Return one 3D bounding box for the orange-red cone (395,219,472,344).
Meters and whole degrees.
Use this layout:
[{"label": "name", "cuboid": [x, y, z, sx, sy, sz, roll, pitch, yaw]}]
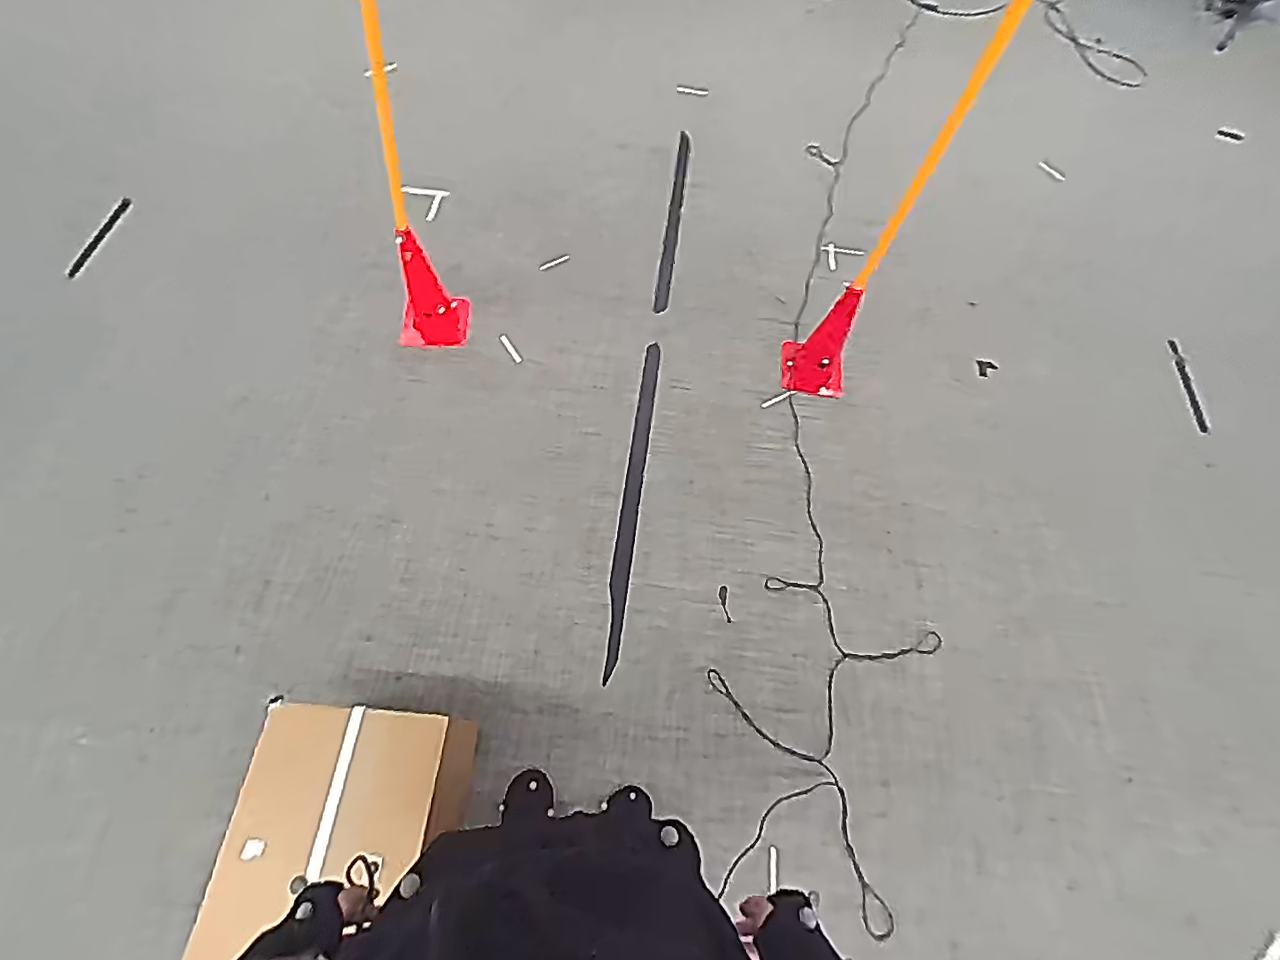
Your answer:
[{"label": "orange-red cone", "cuboid": [-0.629, -0.583, 1.551, 0.199, 0.360, 0.198, 0, 64, -4]}]
